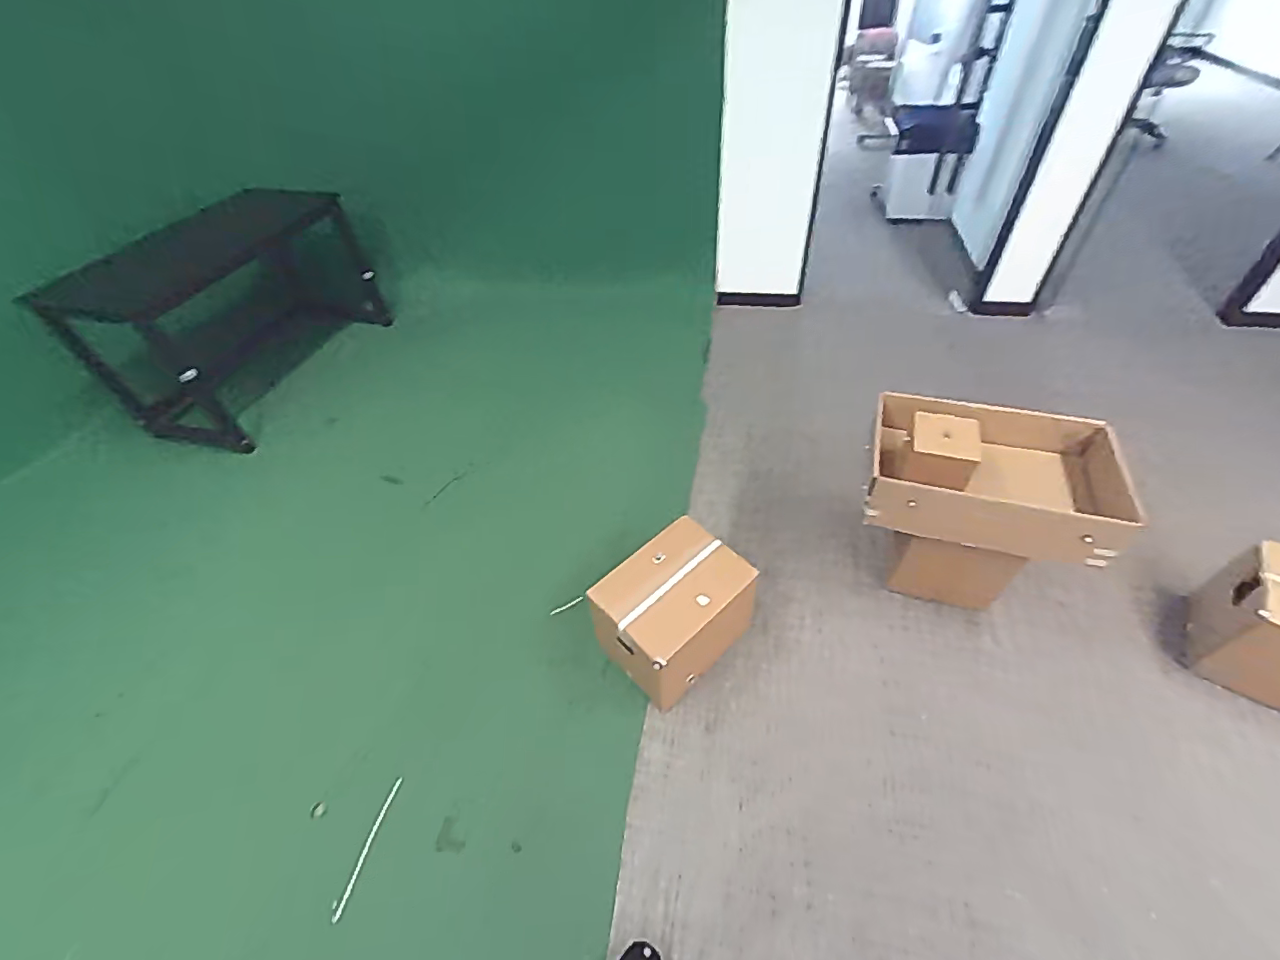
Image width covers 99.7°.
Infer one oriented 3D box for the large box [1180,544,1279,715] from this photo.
[{"bbox_3d":[1.828,0.448,1.478,0.408,0.320,0.320,24,52,26],"label":"large box"}]
